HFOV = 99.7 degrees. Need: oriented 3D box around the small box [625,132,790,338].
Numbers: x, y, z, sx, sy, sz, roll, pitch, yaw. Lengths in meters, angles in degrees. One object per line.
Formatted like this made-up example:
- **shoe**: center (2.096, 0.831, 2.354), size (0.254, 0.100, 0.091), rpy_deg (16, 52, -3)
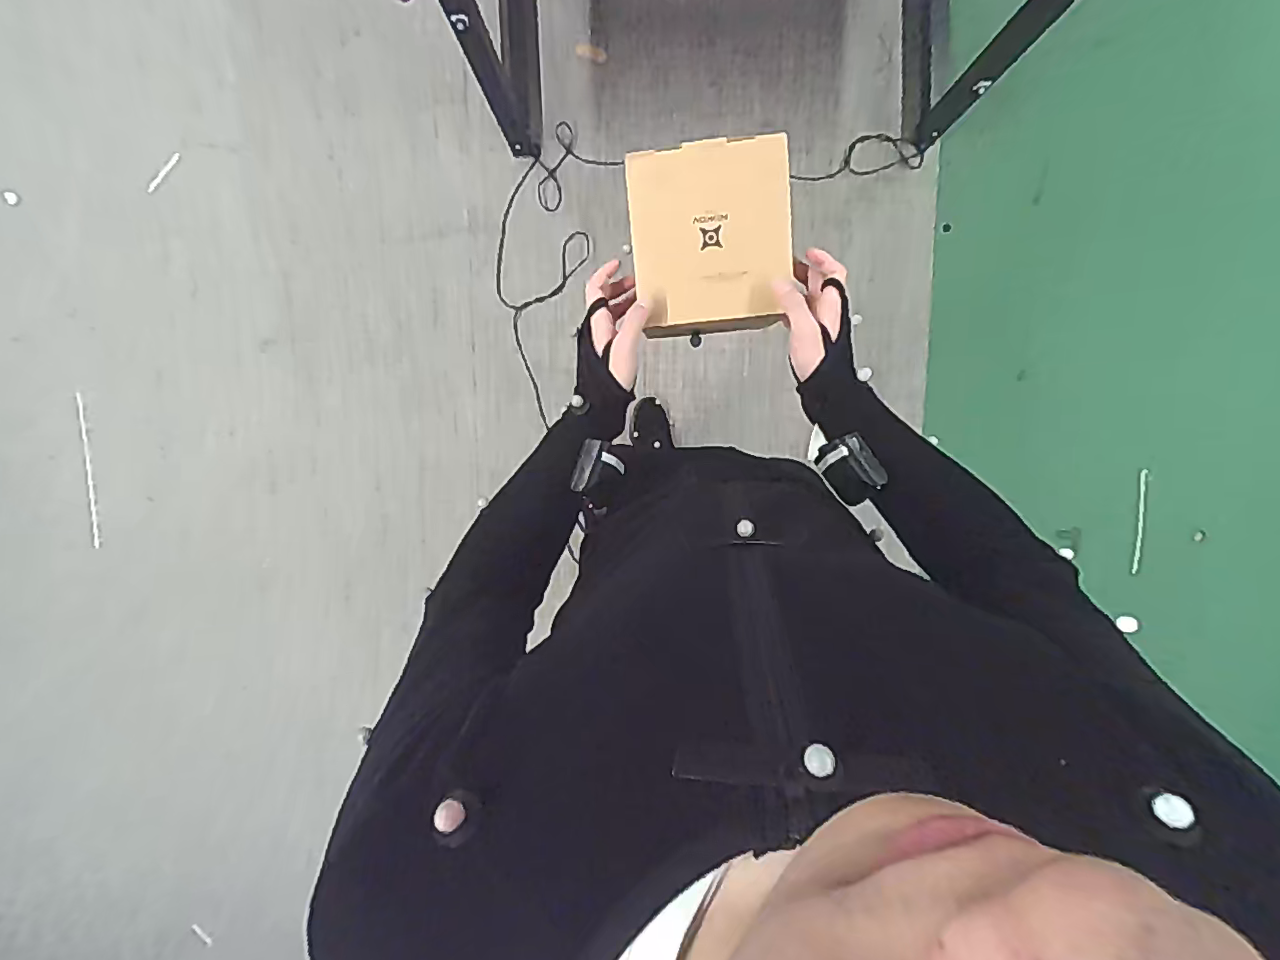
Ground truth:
- **small box**: center (0.075, -0.269, 0.634), size (0.168, 0.176, 0.179), rpy_deg (-4, 100, 5)
